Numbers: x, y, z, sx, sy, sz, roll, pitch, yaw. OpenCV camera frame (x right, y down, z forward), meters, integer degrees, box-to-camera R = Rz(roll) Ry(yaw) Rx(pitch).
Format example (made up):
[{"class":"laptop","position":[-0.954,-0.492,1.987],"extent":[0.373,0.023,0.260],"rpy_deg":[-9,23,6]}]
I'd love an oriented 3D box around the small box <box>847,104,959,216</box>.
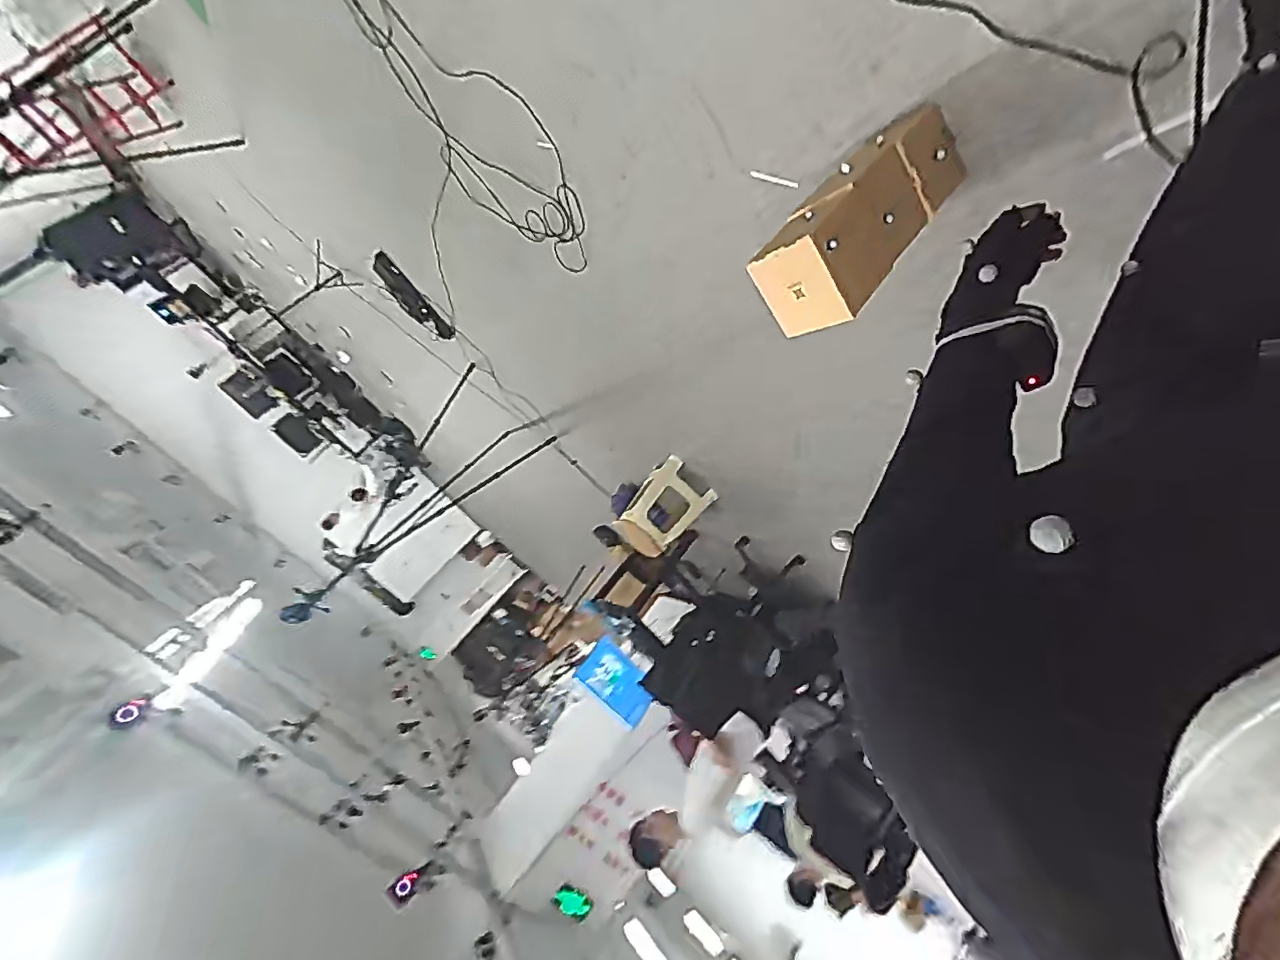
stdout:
[{"class":"small box","position":[0.554,-0.656,1.162],"extent":[0.168,0.176,0.179],"rpy_deg":[50,156,-21]}]

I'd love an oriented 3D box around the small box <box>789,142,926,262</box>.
[{"class":"small box","position":[0.449,-0.541,1.108],"extent":[0.179,0.176,0.168],"rpy_deg":[51,157,-22]}]

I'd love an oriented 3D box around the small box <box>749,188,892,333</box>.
[{"class":"small box","position":[0.355,-0.420,1.051],"extent":[0.179,0.176,0.168],"rpy_deg":[51,157,-21]}]
